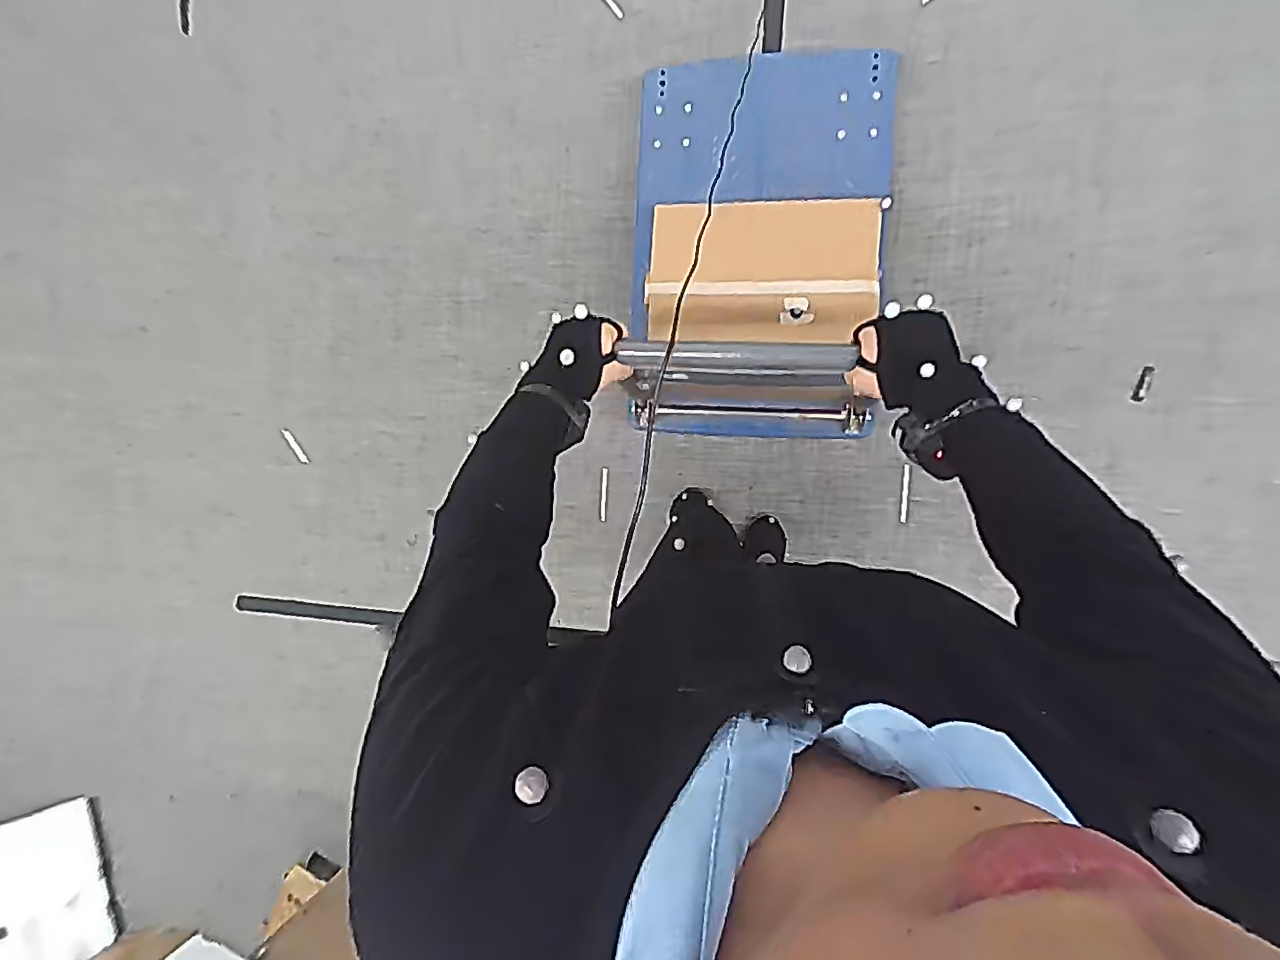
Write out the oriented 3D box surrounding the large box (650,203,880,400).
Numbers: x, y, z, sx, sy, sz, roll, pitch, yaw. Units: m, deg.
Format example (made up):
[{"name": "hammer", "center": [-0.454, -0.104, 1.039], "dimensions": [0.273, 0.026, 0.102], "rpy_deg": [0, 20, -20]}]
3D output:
[{"name": "large box", "center": [0.240, -0.342, 1.125], "dimensions": [0.408, 0.320, 0.320], "rpy_deg": [3, 92, 9]}]
